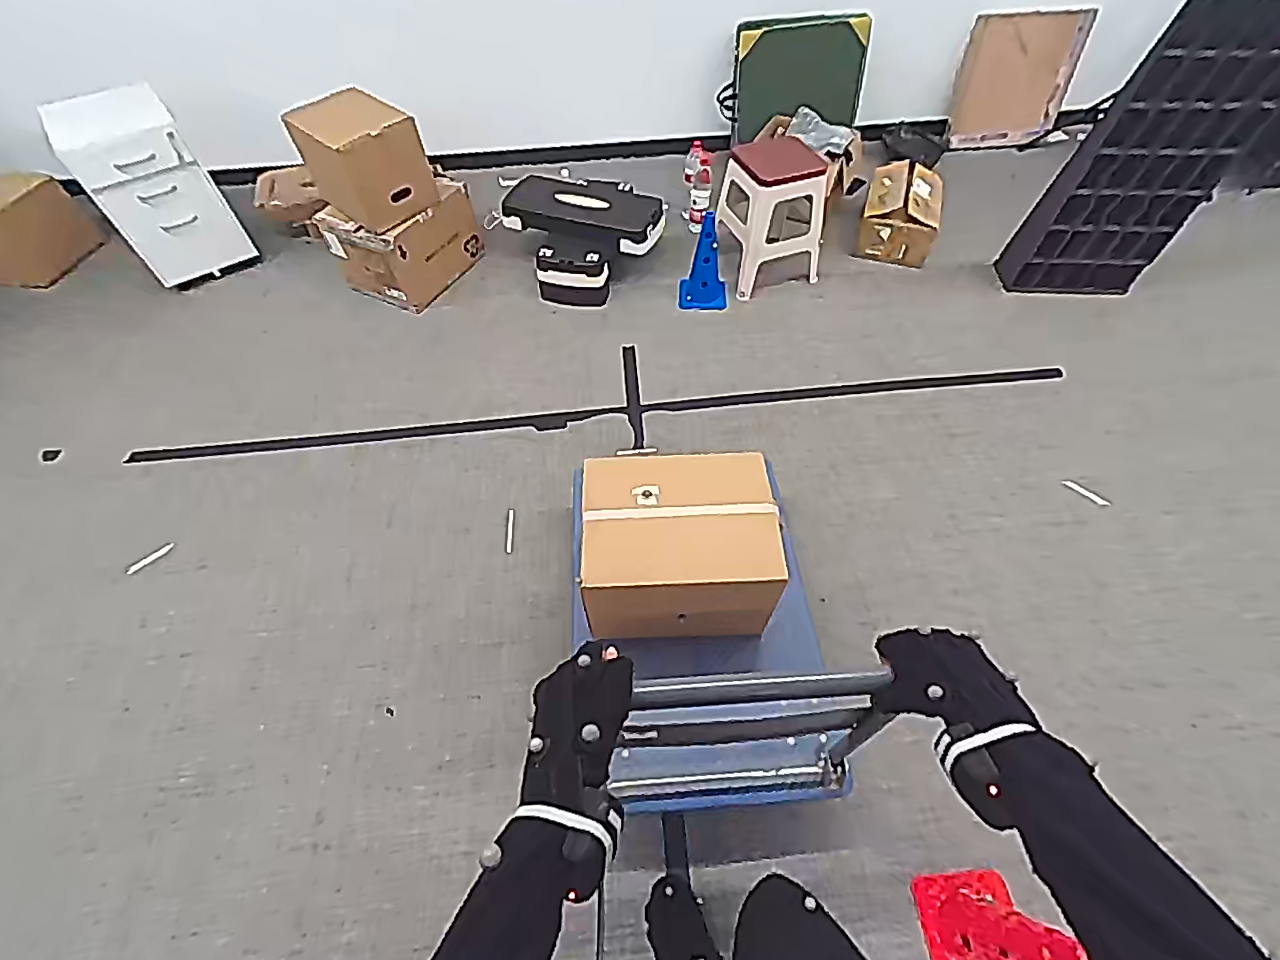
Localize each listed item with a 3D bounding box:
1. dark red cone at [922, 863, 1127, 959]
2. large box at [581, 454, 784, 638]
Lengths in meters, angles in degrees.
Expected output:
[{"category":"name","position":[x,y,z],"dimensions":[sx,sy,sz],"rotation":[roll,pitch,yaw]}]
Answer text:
[{"category":"dark red cone","position":[0.685,0.796,0.941],"dimensions":[0.201,0.394,0.202],"rotation":[-4,55,-3]},{"category":"large box","position":[0.084,0.162,1.257],"dimensions":[0.408,0.320,0.320],"rotation":[-3,55,0]}]
